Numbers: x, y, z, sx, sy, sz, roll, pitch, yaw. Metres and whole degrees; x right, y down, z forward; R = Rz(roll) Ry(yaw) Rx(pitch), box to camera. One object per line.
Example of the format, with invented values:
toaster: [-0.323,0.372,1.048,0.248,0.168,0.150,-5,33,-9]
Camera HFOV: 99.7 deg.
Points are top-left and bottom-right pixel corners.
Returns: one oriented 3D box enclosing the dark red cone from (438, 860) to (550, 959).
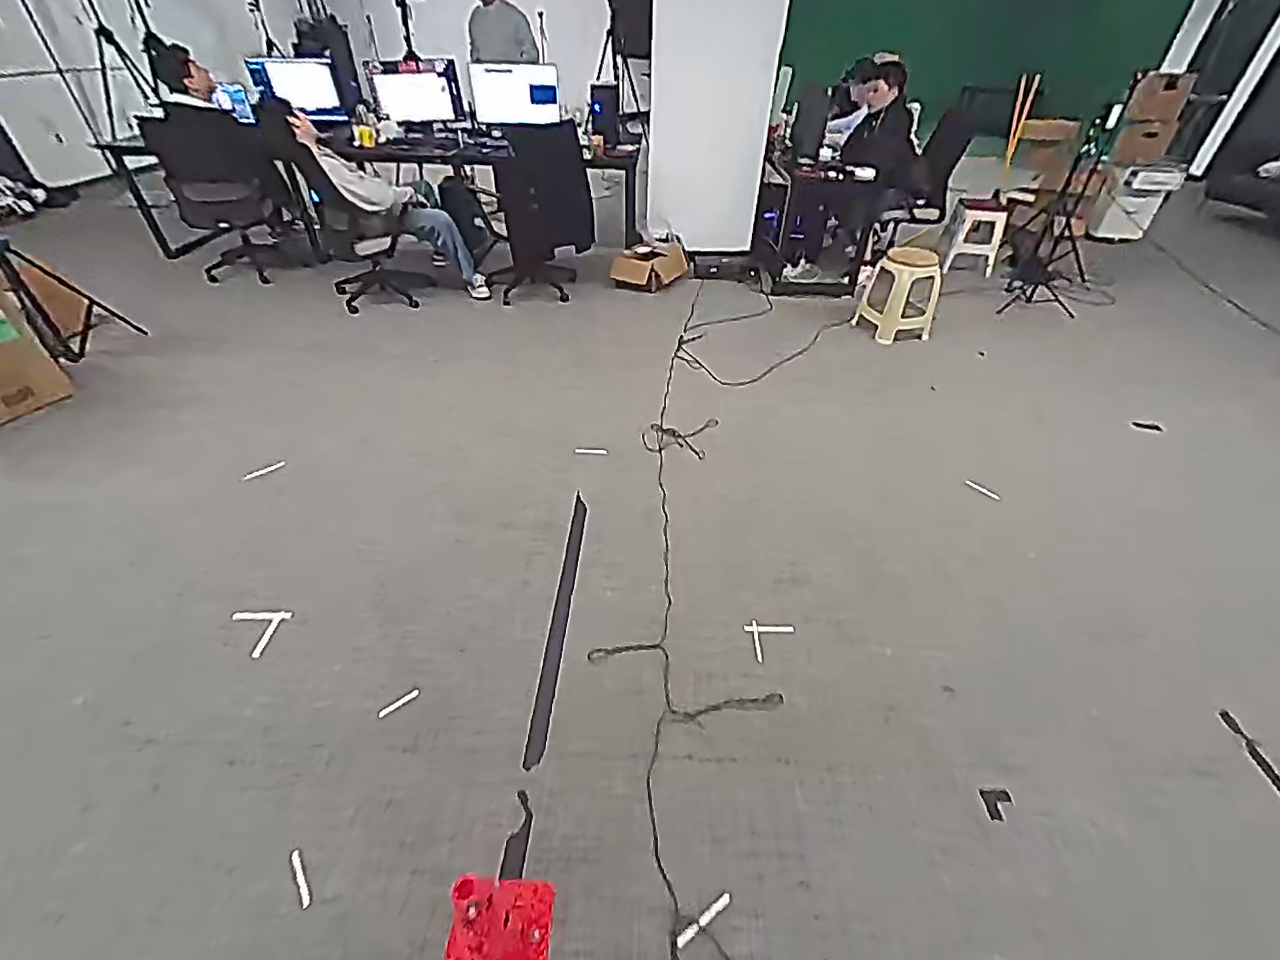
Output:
dark red cone: [-0.276,0.762,0.950,0.201,0.394,0.202,3,39,0]
